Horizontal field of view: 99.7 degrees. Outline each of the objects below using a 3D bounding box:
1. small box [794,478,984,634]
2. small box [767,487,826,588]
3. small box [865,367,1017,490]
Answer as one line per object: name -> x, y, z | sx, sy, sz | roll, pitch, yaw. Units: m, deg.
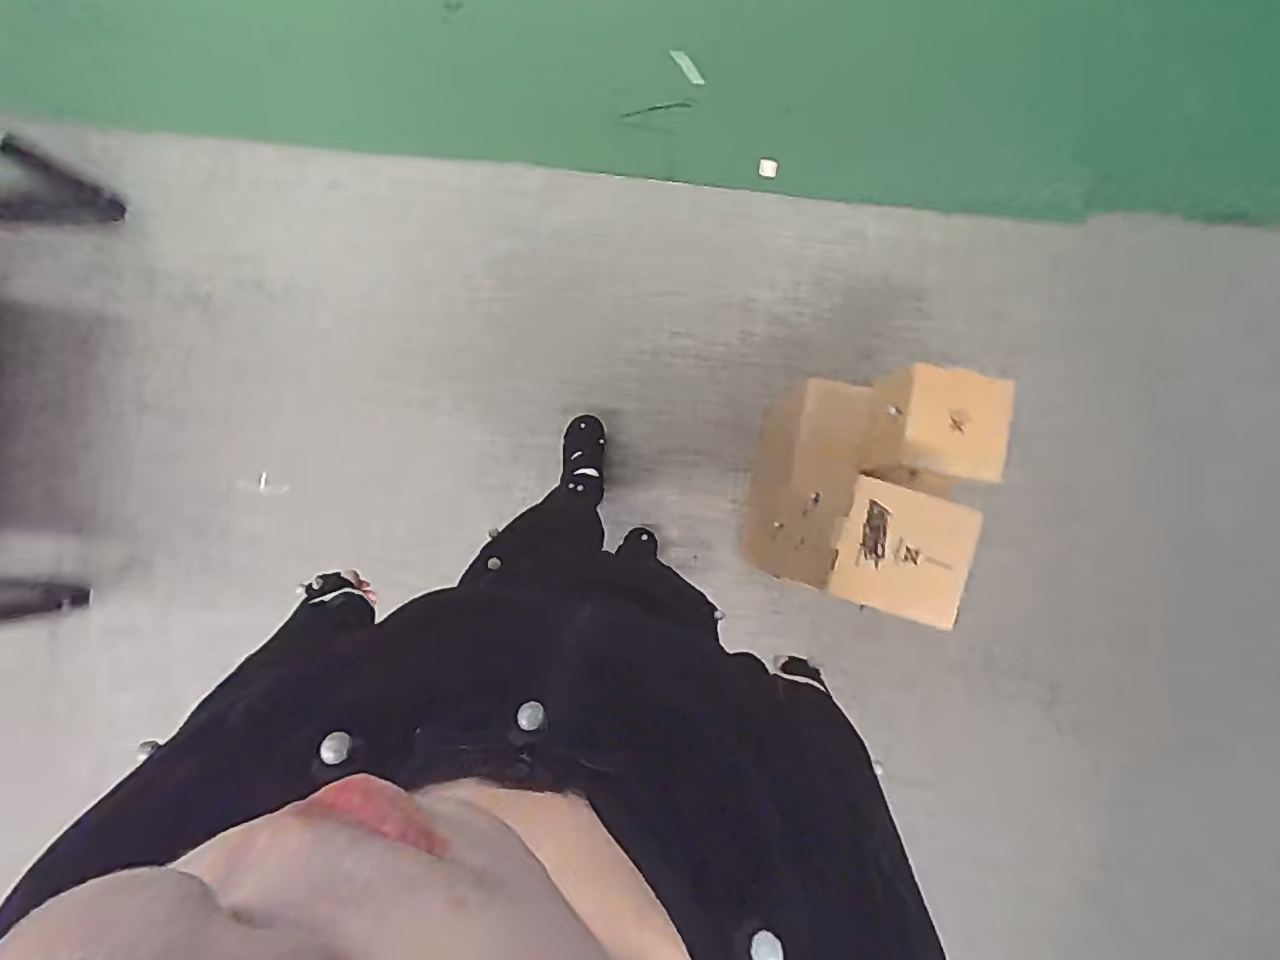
small box -> 0.347, 0.104, 0.790 | 0.179, 0.176, 0.168 | 18, 88, -1
small box -> 0.344, 0.111, 0.956 | 0.179, 0.176, 0.168 | 14, 87, 0
small box -> 0.520, -0.082, 0.961 | 0.168, 0.176, 0.179 | 11, 87, 1
